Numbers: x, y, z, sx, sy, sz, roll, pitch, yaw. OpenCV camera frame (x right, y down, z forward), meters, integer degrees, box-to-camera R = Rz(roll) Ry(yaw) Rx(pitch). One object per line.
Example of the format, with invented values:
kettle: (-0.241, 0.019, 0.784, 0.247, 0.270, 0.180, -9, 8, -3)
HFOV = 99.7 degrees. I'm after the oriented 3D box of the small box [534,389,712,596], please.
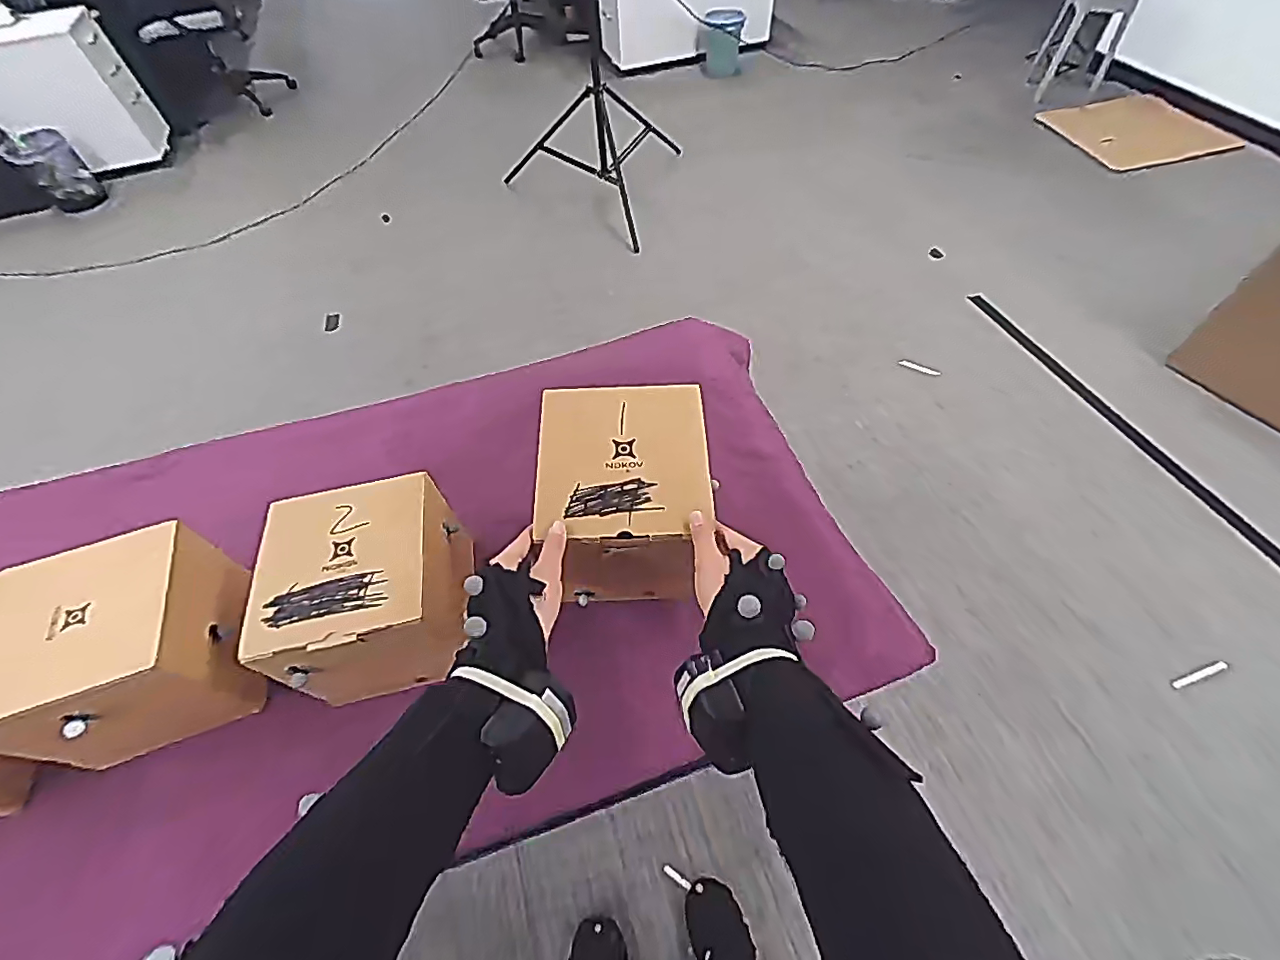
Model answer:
small box: (-0.015, 0.023, 0.595, 0.168, 0.176, 0.179, -2, 58, 0)
